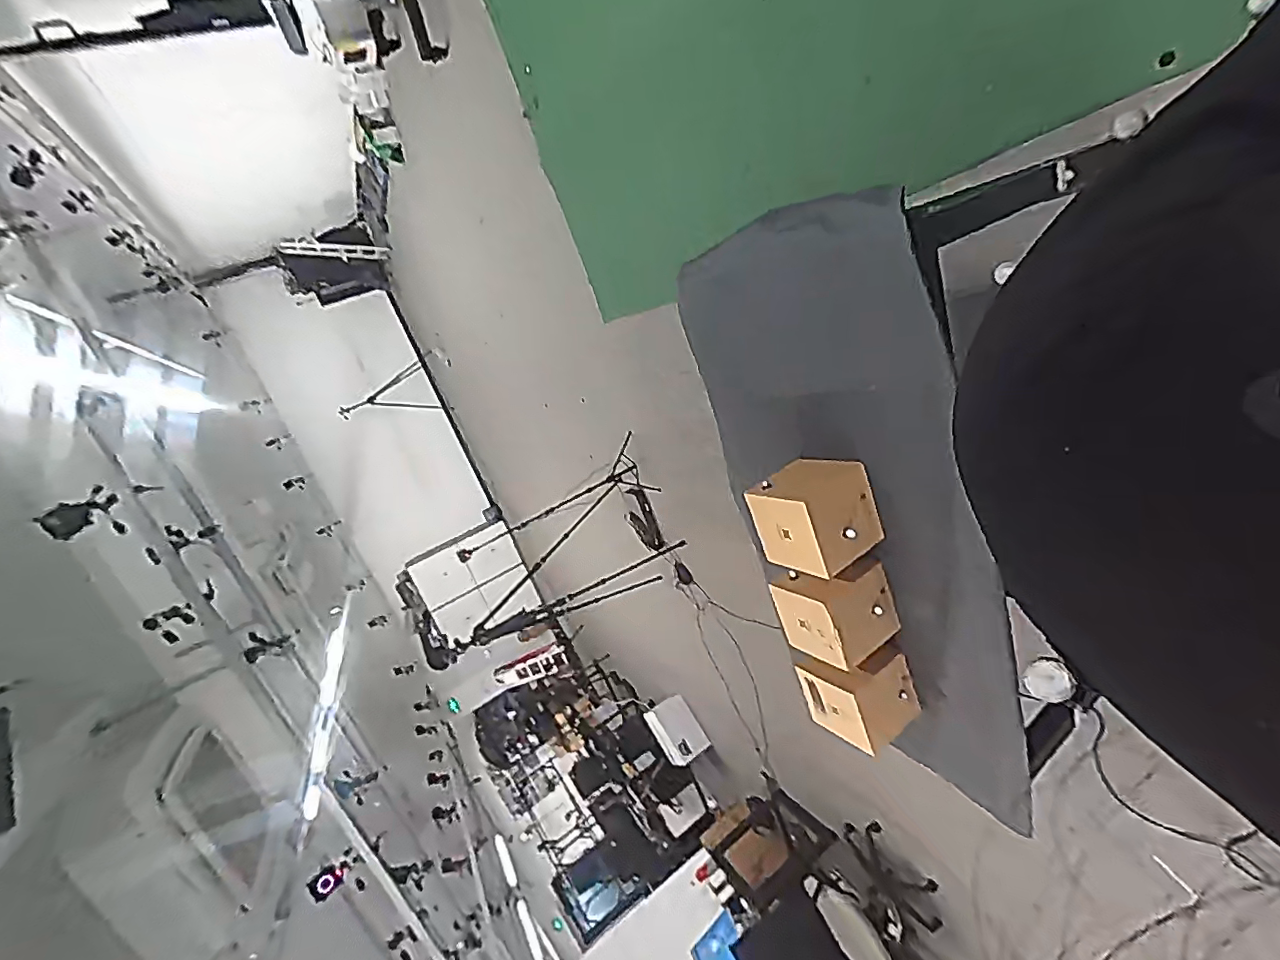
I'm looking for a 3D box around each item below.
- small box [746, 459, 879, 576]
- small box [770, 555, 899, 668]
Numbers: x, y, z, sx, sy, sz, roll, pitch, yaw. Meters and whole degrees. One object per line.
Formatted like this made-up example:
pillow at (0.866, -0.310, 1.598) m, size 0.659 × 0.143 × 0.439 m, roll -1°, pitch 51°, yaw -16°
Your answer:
small box at (0.351, 0.066, 1.086) m, size 0.179 × 0.176 × 0.168 m, roll 8°, pitch 124°, yaw 63°
small box at (0.418, 0.265, 1.166) m, size 0.179 × 0.176 × 0.168 m, roll 6°, pitch 122°, yaw 63°
